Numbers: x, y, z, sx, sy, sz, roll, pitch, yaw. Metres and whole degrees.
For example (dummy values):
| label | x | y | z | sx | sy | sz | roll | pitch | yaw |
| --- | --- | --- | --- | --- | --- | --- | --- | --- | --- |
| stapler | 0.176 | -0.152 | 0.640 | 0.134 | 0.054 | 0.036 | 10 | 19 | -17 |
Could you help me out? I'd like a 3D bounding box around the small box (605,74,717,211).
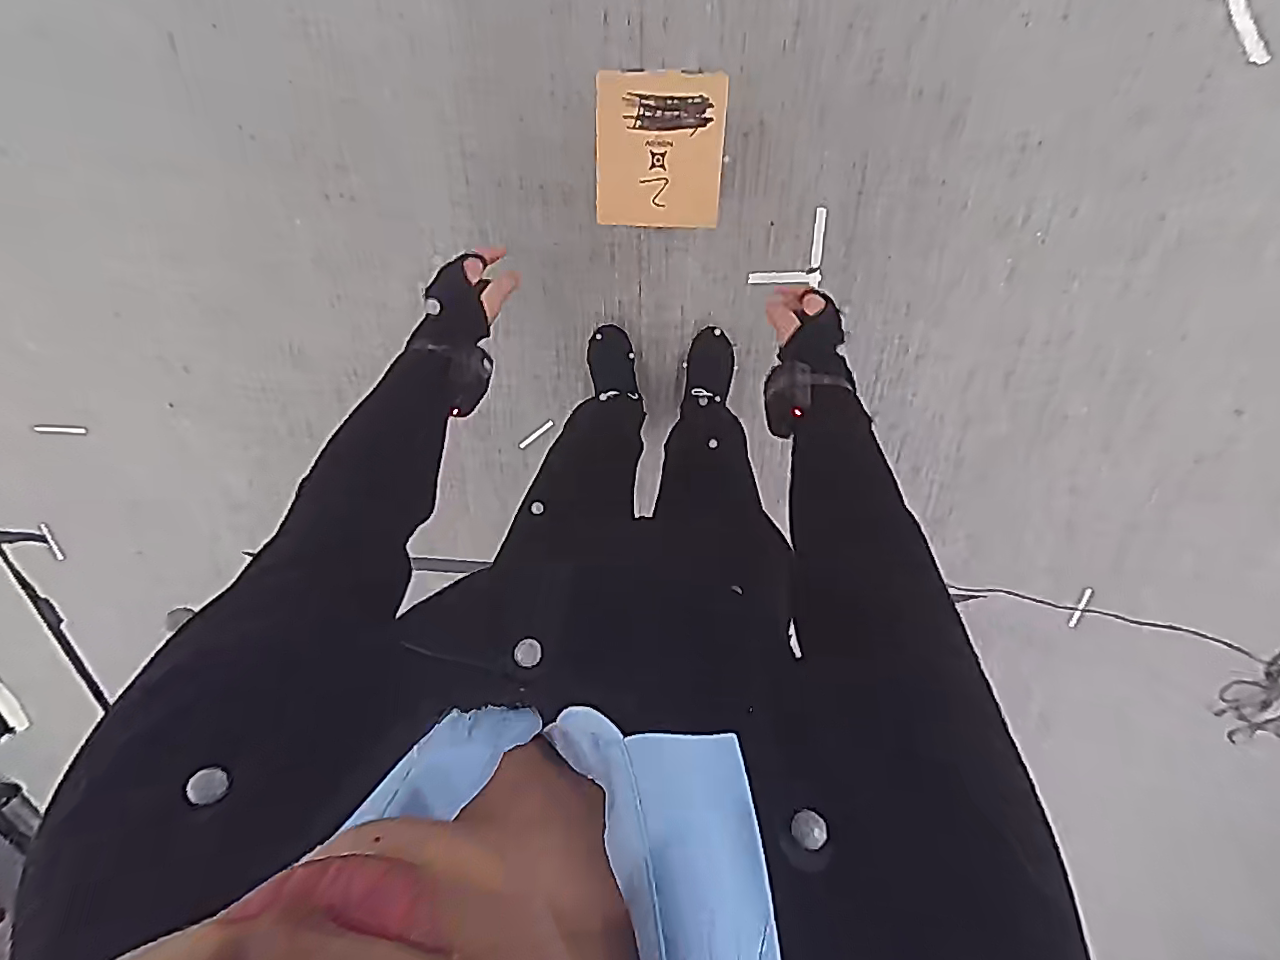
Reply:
| label | x | y | z | sx | sy | sz | roll | pitch | yaw |
| --- | --- | --- | --- | --- | --- | --- | --- | --- | --- |
| small box | 0.032 | -0.548 | 0.898 | 0.168 | 0.176 | 0.179 | 3 | 118 | 2 |
